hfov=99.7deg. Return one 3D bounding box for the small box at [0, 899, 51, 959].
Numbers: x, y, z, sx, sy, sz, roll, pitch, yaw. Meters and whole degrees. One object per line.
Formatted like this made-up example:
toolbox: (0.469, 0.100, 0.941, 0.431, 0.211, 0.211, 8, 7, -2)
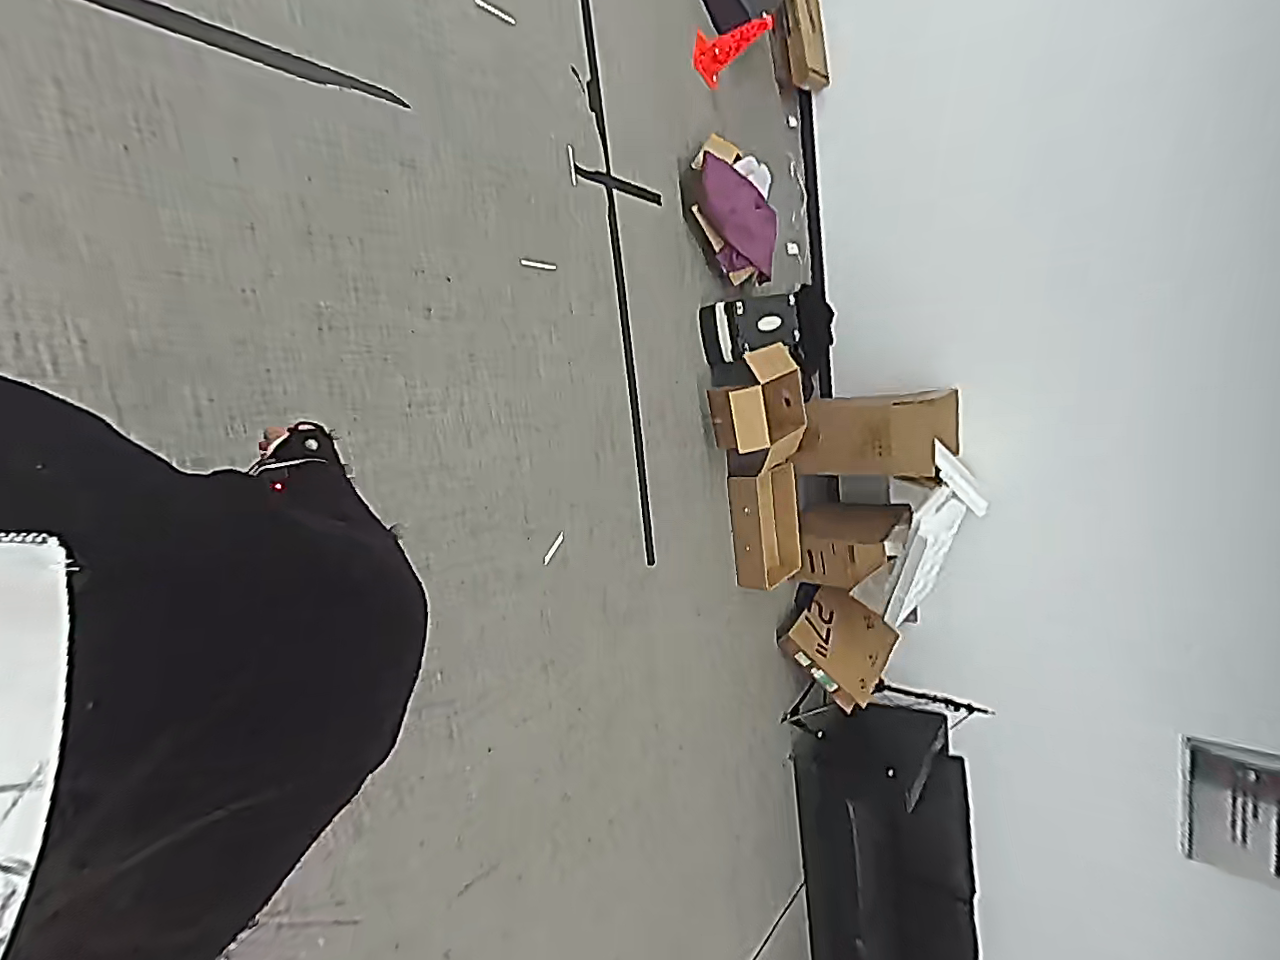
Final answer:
small box: (-0.768, 0.625, 0.594, 0.168, 0.176, 0.179, -16, 99, -49)
